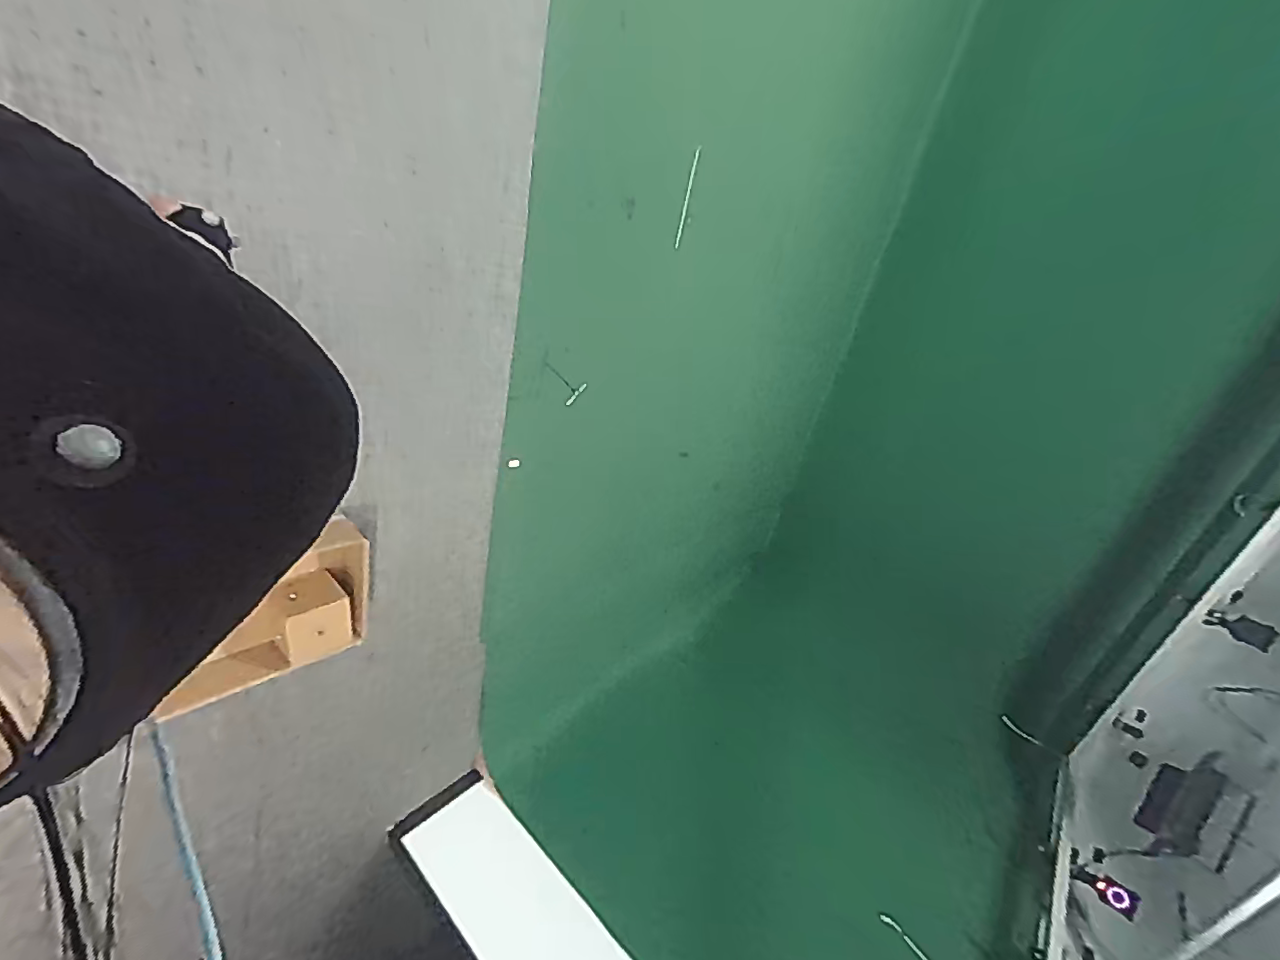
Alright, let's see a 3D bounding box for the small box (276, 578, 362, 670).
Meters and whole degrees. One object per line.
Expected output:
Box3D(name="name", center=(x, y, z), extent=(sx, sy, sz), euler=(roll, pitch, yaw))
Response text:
Box3D(name="small box", center=(-0.937, 0.409, 1.578), extent=(0.168, 0.176, 0.179), euler=(-19, 129, -45))
